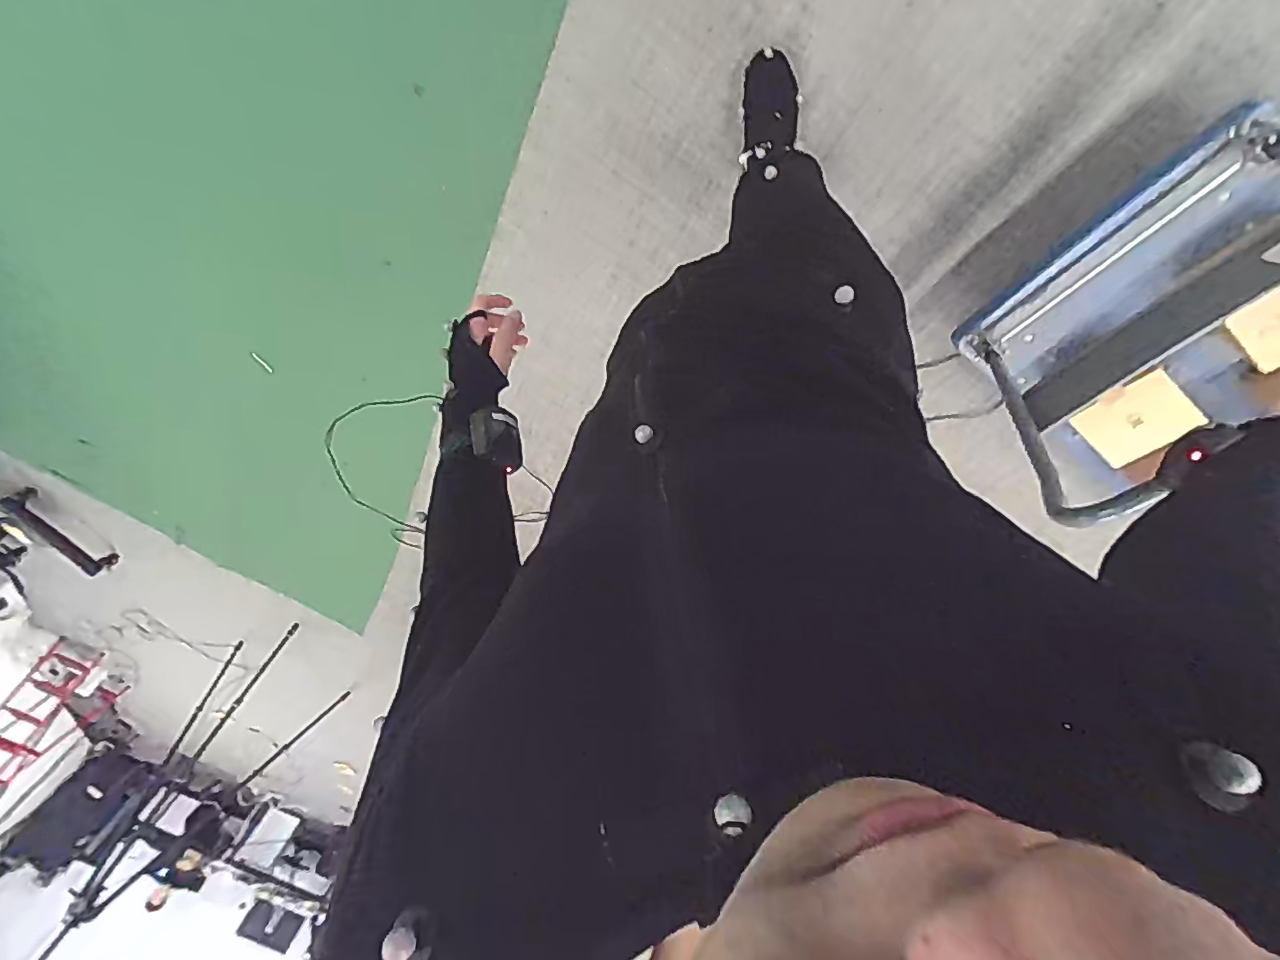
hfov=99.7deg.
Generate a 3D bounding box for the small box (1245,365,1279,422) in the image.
[{"bbox_3d":[1.341,-0.151,1.029,0.179,0.176,0.168,33,131,-9],"label":"small box"}]

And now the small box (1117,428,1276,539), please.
[{"bbox_3d":[1.200,-0.010,1.189,0.179,0.176,0.168,35,129,-10],"label":"small box"}]

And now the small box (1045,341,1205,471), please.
[{"bbox_3d":[1.008,-0.159,1.138,0.179,0.176,0.168,38,129,-12],"label":"small box"}]
